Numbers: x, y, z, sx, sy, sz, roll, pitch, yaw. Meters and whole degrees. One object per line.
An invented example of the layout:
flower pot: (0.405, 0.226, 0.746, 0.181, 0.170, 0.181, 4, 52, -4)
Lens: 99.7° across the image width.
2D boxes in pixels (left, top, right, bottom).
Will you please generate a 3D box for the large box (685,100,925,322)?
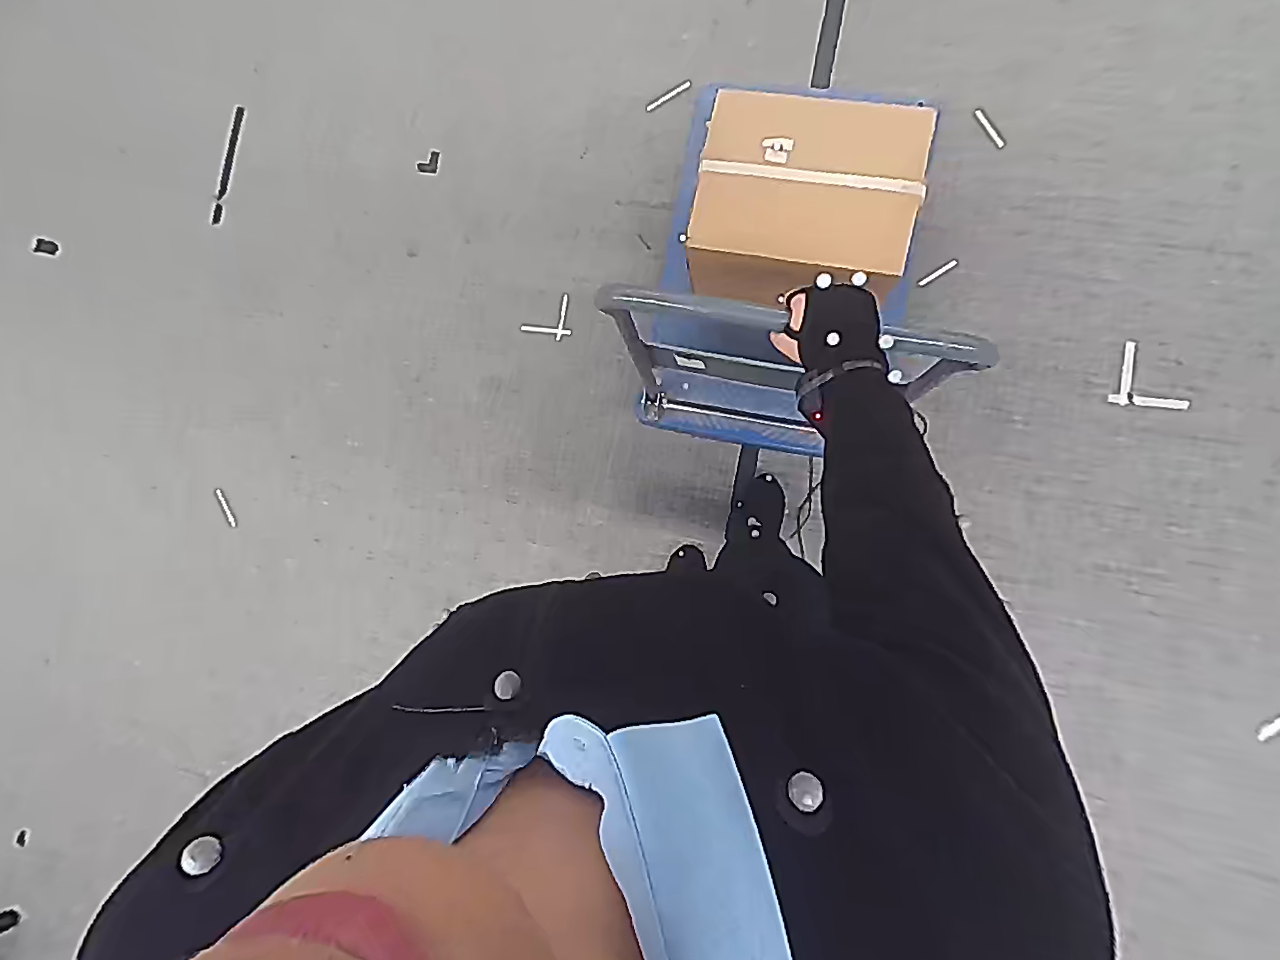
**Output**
large box: (0.336, -0.558, 1.171, 0.408, 0.320, 0.320, 11, 89, 11)
